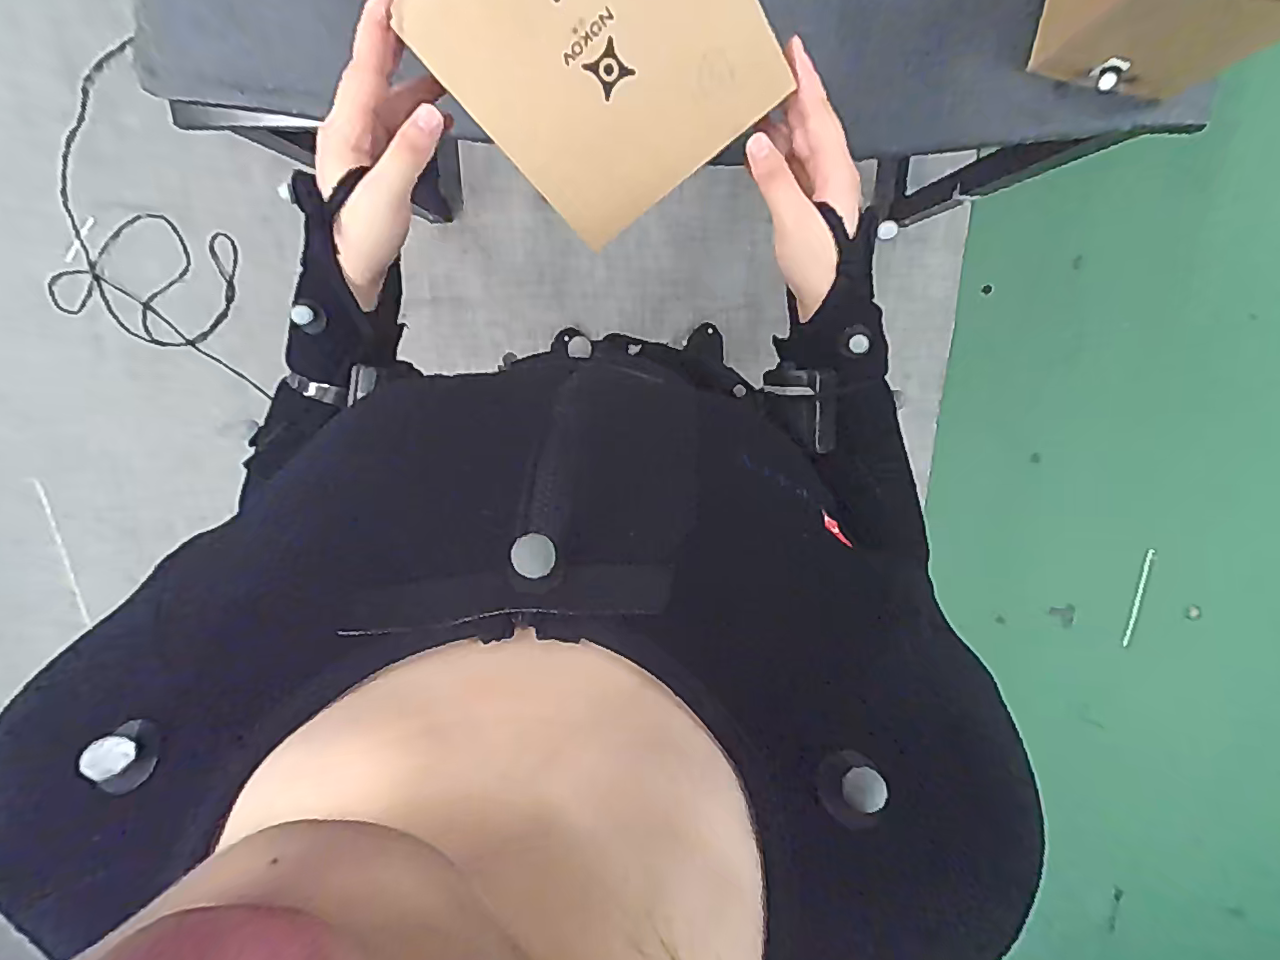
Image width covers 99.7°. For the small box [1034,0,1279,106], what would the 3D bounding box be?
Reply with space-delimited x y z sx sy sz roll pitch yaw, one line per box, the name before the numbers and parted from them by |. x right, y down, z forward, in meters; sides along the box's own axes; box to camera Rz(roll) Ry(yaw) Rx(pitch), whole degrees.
small box | 0.521 -0.498 0.509 0.168 0.176 0.179 10 103 0
